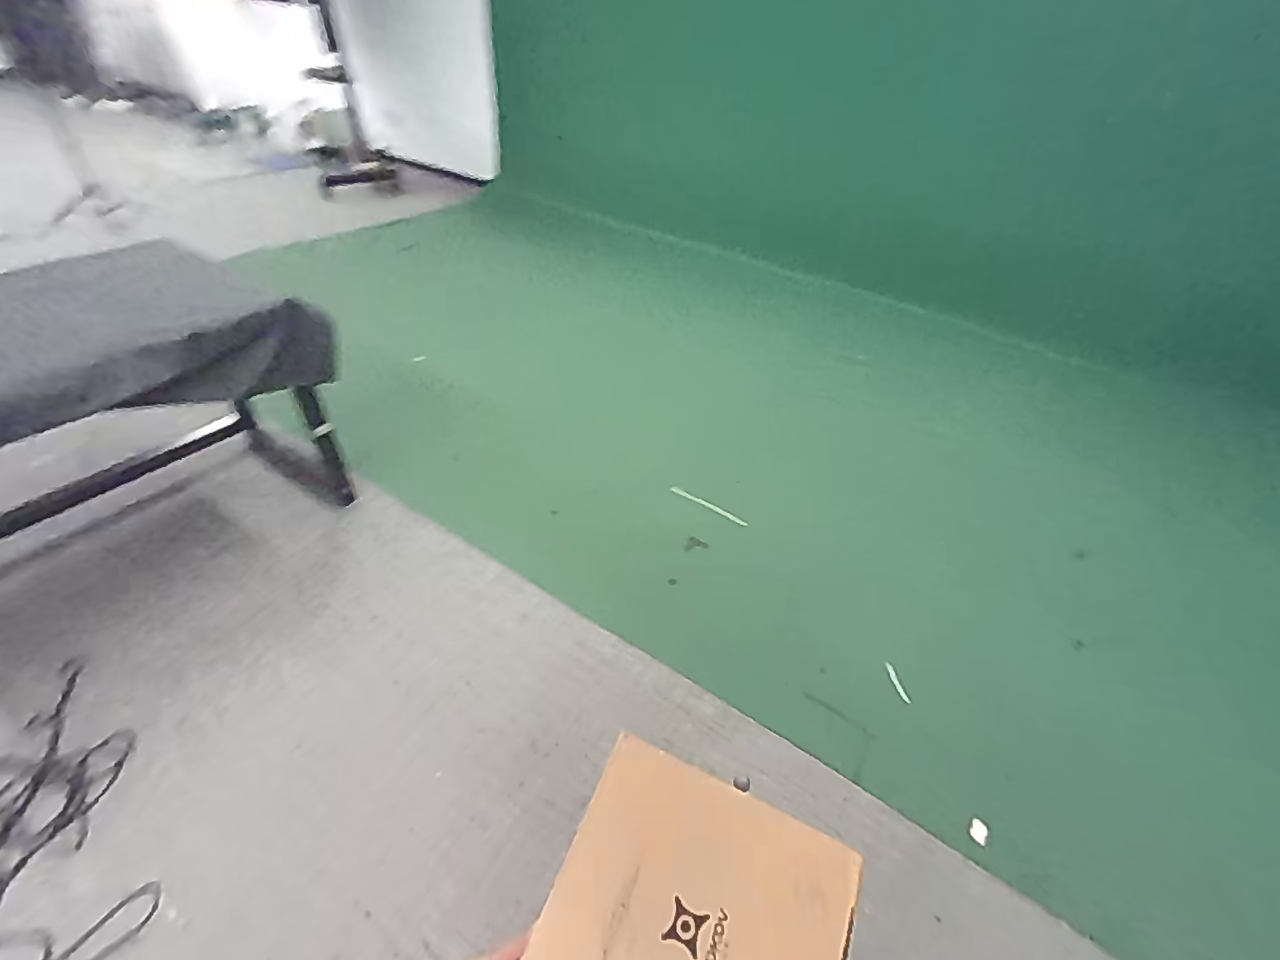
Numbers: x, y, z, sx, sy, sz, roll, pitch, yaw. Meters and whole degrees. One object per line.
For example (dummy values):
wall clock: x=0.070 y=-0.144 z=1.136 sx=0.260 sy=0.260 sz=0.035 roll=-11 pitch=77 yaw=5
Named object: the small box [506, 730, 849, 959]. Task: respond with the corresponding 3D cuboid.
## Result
small box: x=0.027 y=0.312 z=0.395 sx=0.179 sy=0.176 sz=0.168 roll=19 pitch=58 yaw=16
